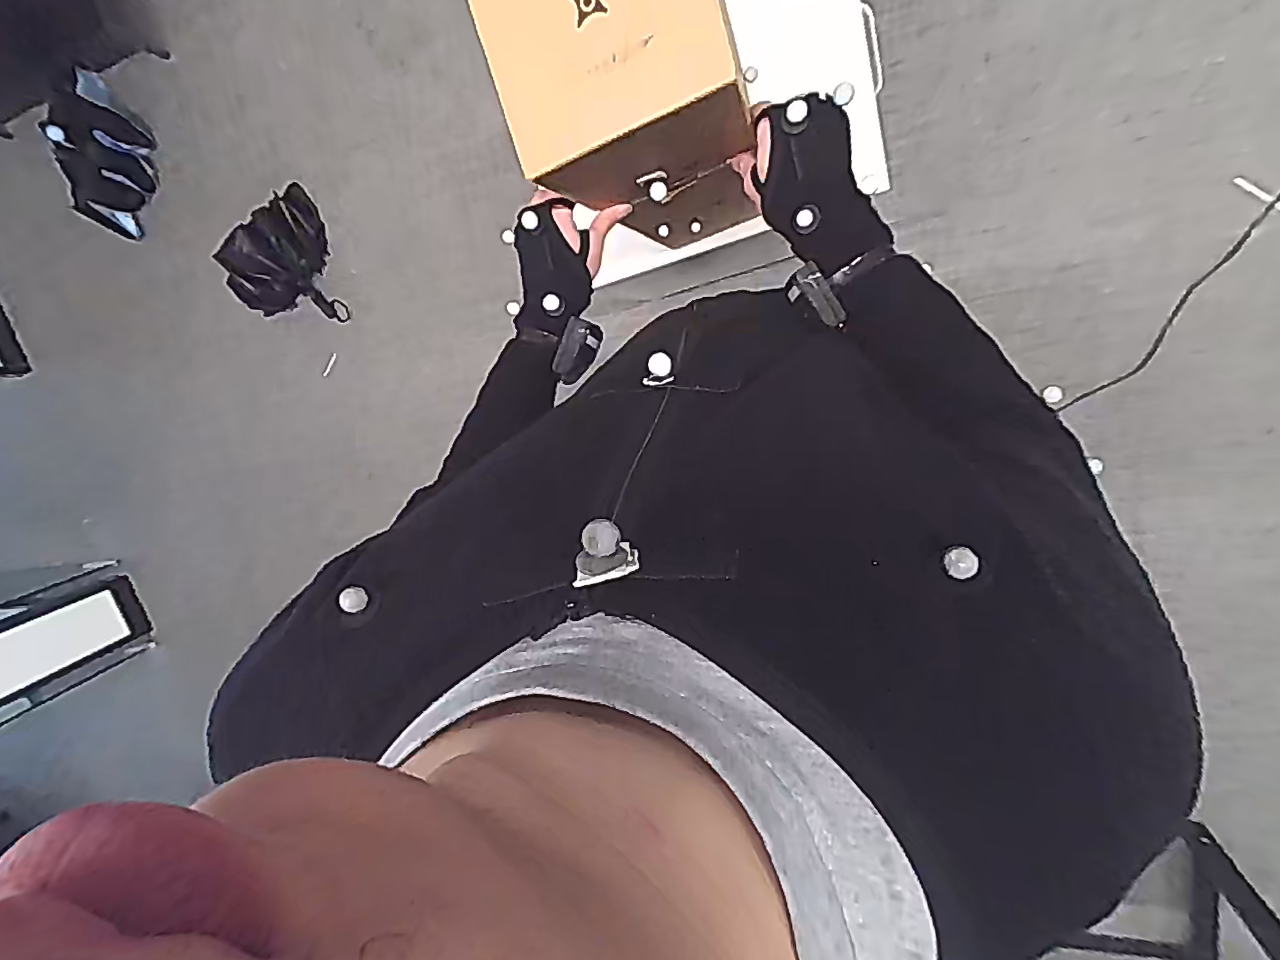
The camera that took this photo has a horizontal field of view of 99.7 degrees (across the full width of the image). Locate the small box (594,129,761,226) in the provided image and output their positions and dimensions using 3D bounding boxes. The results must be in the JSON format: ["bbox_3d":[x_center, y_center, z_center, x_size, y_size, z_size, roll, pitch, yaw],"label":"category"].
[{"bbox_3d":[0.028,-0.392,0.583,0.168,0.176,0.179,-14,101,19],"label":"small box"}]

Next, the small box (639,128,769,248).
[{"bbox_3d":[0.072,-0.439,0.735,0.168,0.176,0.179,-15,102,20],"label":"small box"}]

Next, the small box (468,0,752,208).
[{"bbox_3d":[-0.015,-0.348,0.432,0.168,0.176,0.179,-14,103,20],"label":"small box"}]
